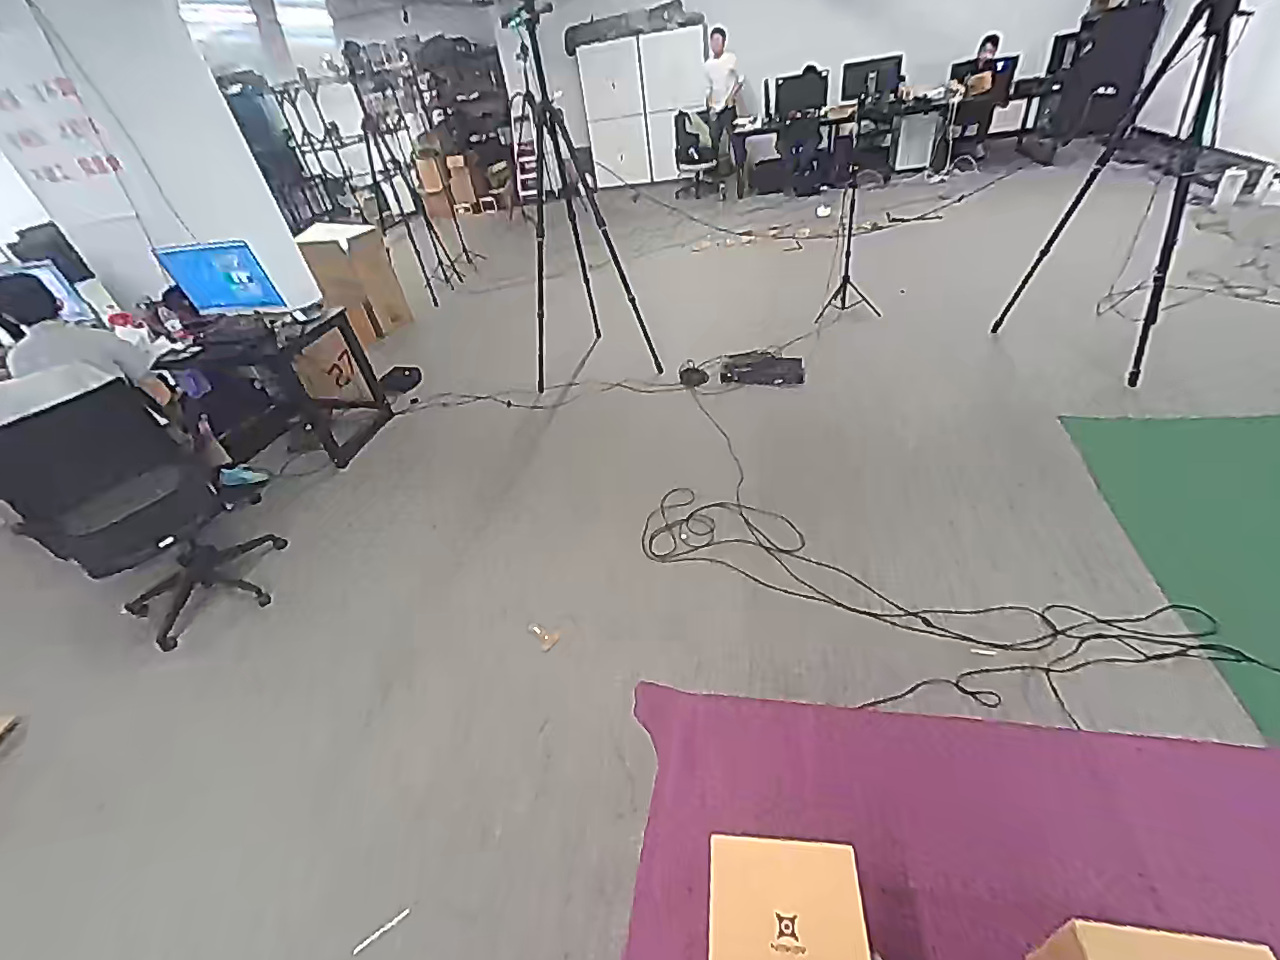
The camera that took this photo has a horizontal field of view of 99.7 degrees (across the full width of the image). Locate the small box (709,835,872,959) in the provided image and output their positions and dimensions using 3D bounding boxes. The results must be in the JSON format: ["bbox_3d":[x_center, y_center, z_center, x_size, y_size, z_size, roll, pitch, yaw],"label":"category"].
[{"bbox_3d":[0.164,0.538,0.613,0.168,0.176,0.179,-2,39,10],"label":"small box"}]

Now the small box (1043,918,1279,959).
[{"bbox_3d":[0.511,0.555,0.505,0.168,0.176,0.179,-1,38,13],"label":"small box"}]
